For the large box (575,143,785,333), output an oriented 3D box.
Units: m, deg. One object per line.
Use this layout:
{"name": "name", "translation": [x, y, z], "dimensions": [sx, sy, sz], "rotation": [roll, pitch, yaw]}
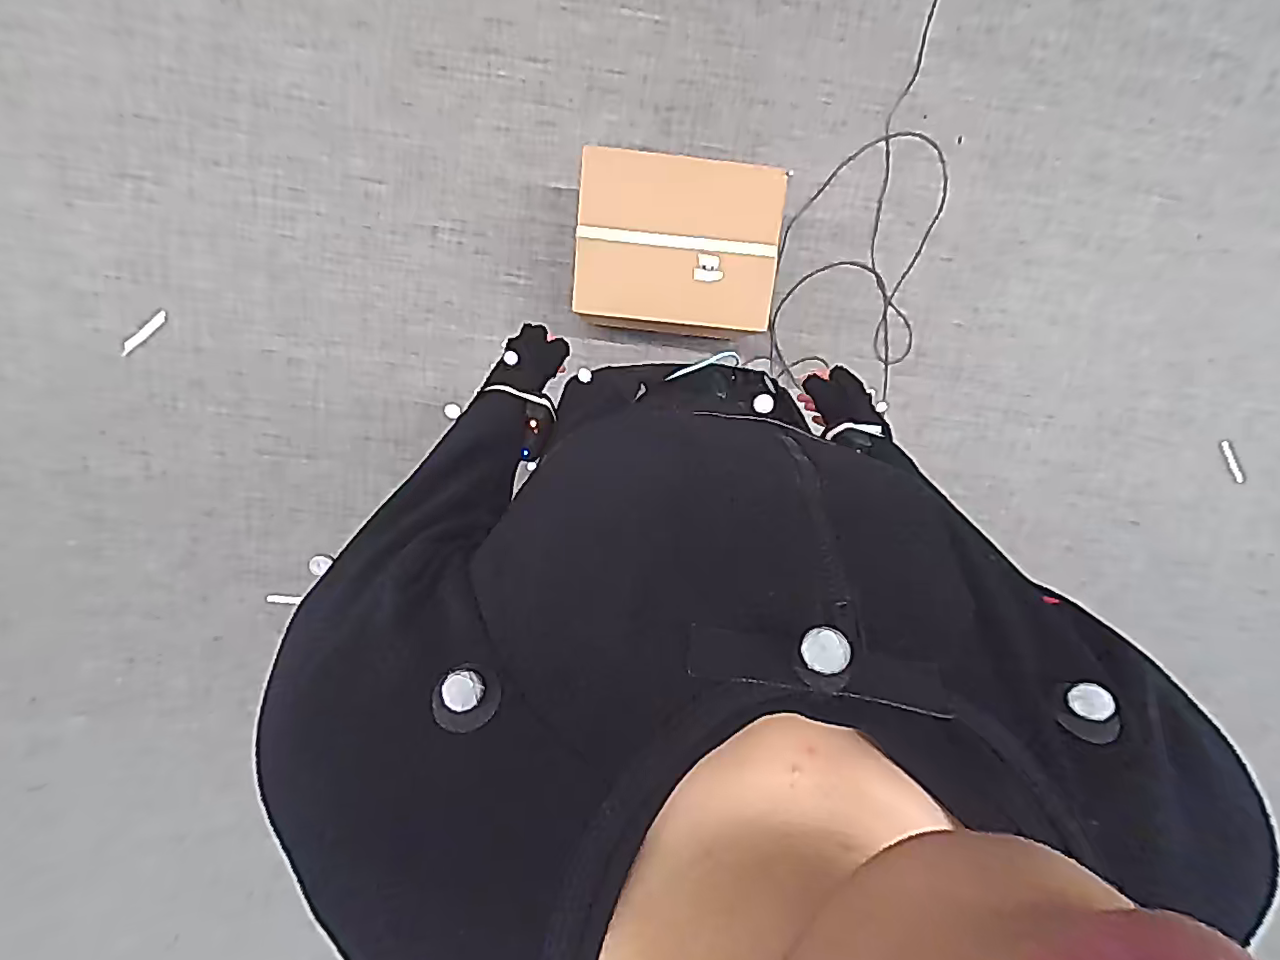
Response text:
{"name": "large box", "translation": [0.069, -0.518, 1.228], "dimensions": [0.408, 0.320, 0.320], "rotation": [5, 103, -3]}
